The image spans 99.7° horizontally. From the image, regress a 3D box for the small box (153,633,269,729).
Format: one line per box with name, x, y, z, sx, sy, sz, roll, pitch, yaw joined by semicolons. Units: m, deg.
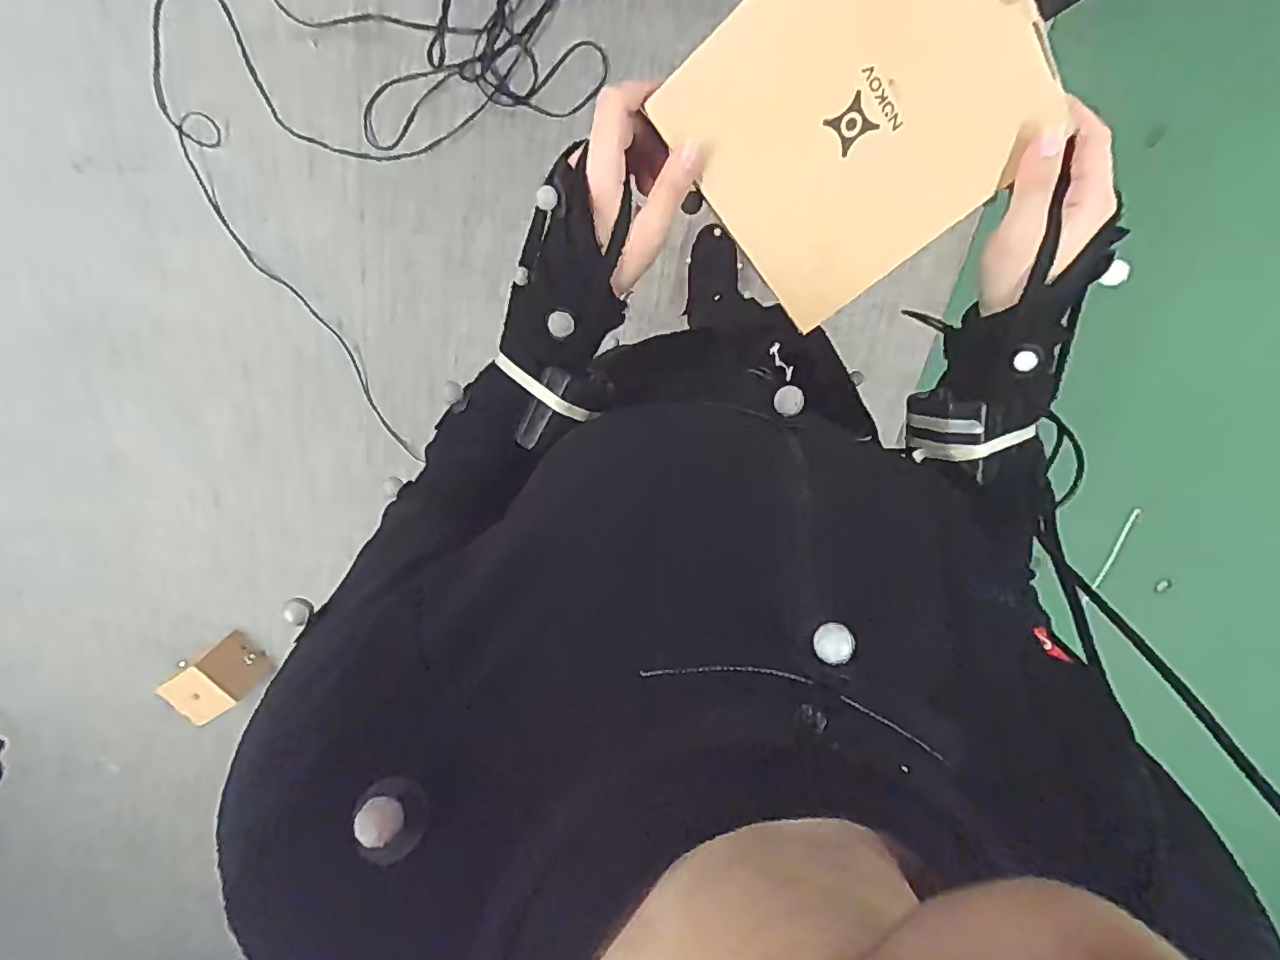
small box;-1.269;0.596;1.614;0.179;0.176;0.168;-31;108;13
